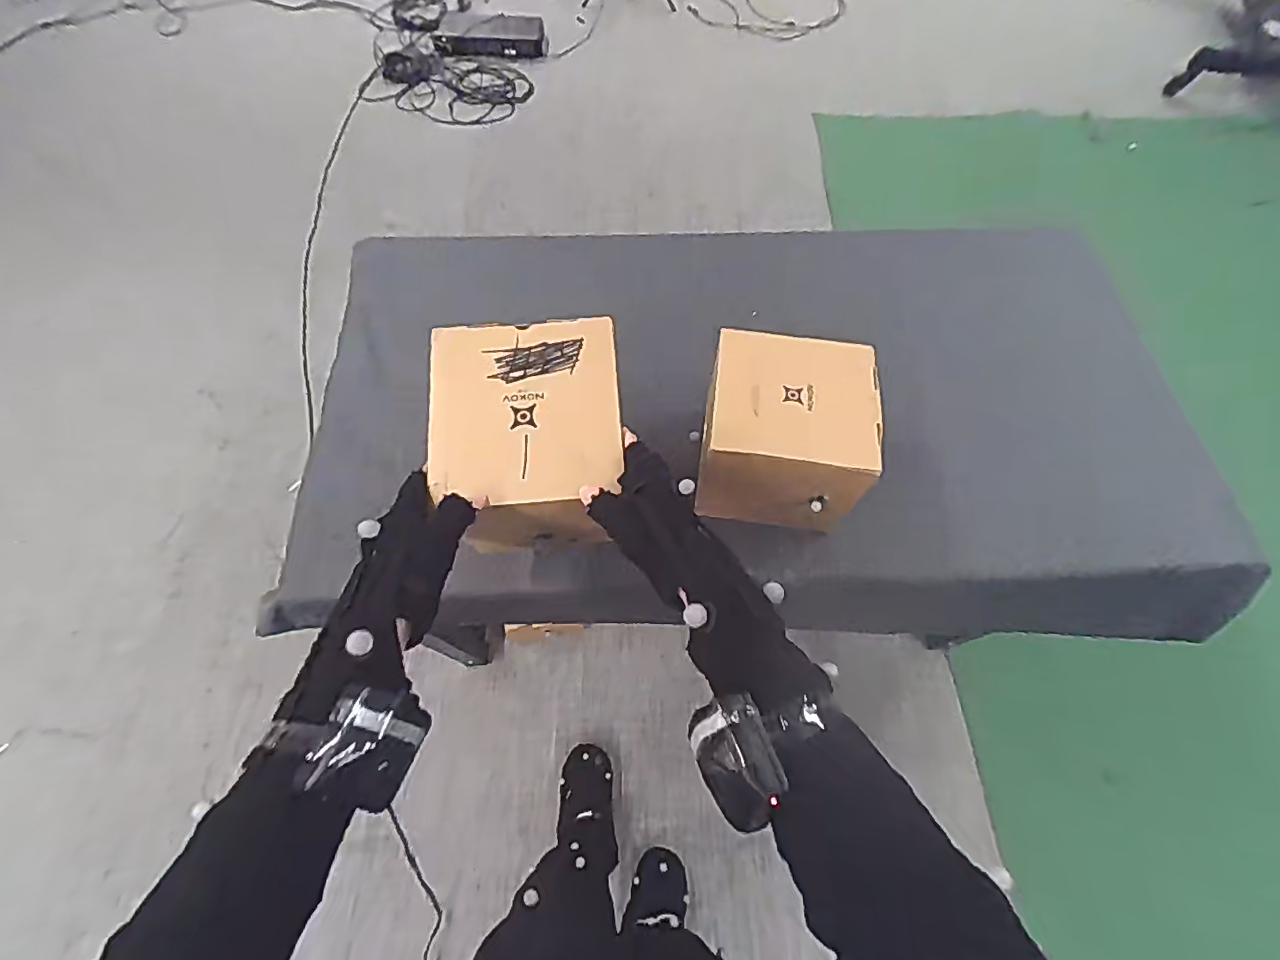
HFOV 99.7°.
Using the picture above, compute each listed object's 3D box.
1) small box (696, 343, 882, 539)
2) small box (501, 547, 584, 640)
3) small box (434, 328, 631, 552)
[{"bbox_3d":[0.170,-0.039,0.656,0.179,0.176,0.168,7,62,4],"label":"small box"},{"bbox_3d":[-0.230,0.280,1.303,0.168,0.176,0.179,-9,65,-6],"label":"small box"},{"bbox_3d":[-0.096,-0.032,0.555,0.168,0.176,0.179,-4,72,-1],"label":"small box"}]
